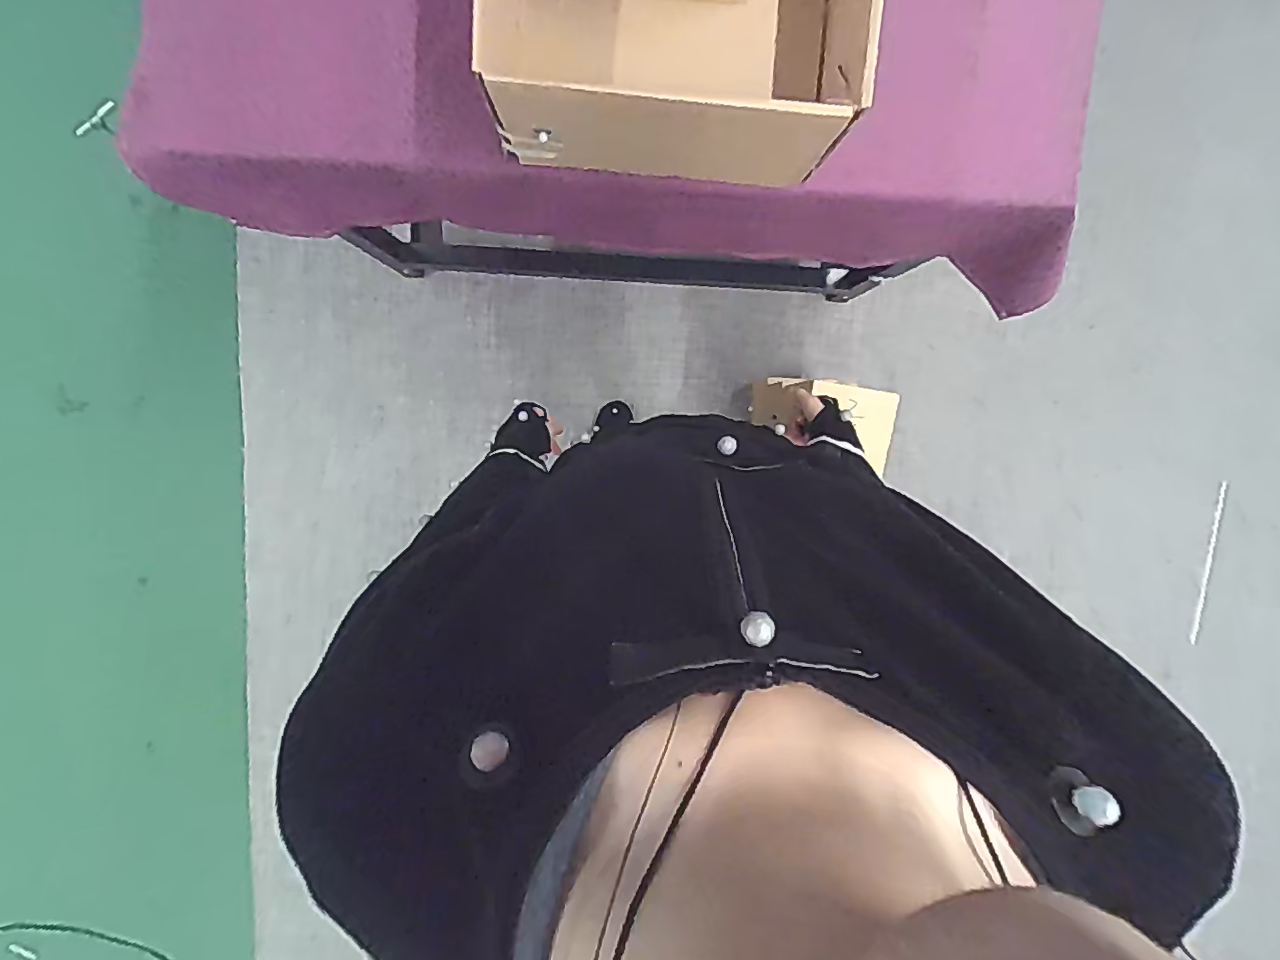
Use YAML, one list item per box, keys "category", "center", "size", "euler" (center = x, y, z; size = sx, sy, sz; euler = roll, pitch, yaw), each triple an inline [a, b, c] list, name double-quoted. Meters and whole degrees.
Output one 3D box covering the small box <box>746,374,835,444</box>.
- category: "small box"
  center: [0.385, -0.184, 1.407]
  size: [0.179, 0.176, 0.168]
  euler: [2, 97, -1]
